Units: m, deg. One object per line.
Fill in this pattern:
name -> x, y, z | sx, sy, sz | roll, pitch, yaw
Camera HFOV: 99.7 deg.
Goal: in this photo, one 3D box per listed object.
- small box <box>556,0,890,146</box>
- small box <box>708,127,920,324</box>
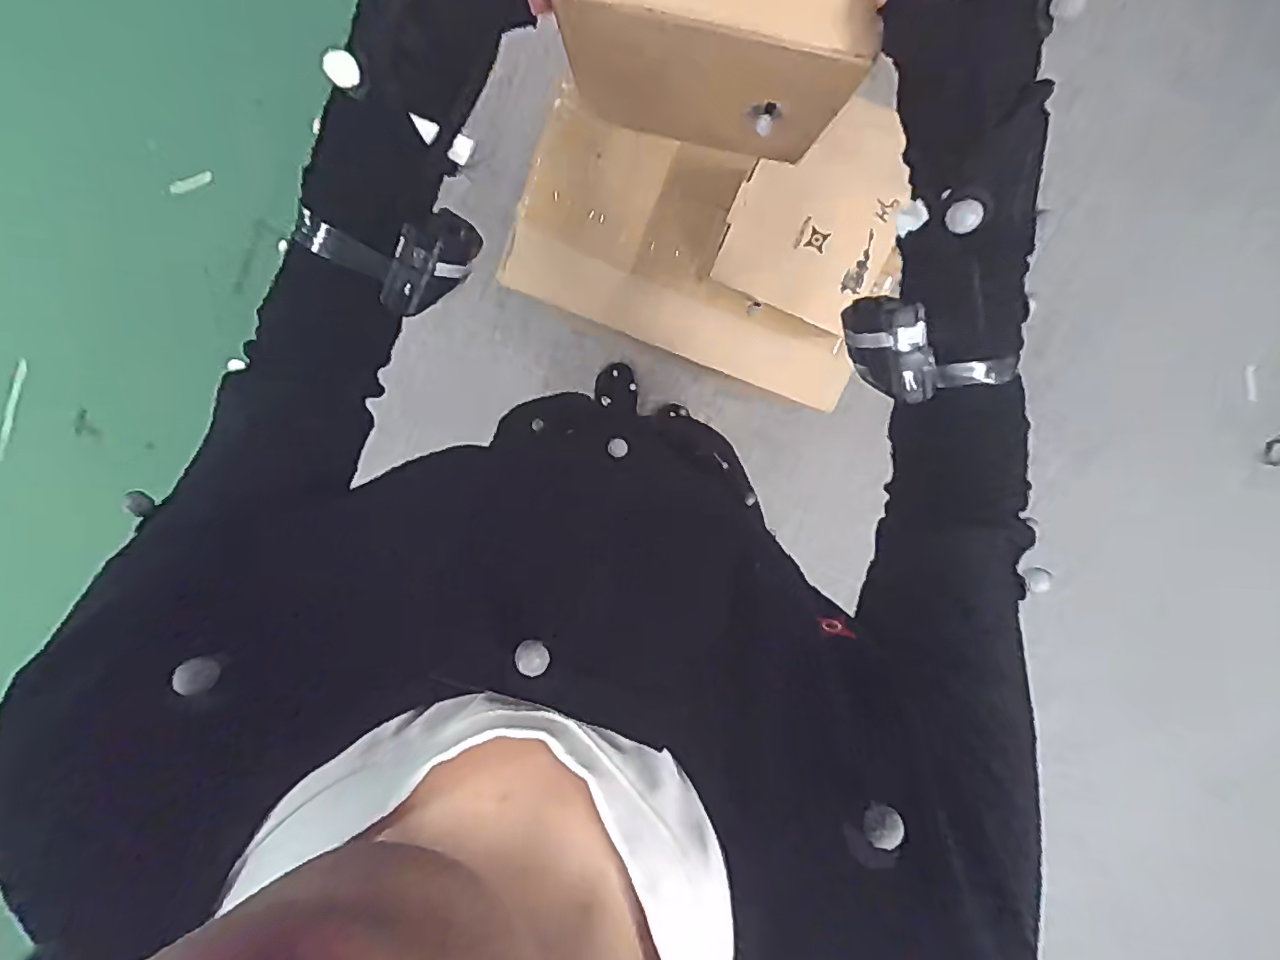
small box -> 0.053, -0.334, 0.337 | 0.179, 0.176, 0.168 | 9, 103, 0
small box -> 0.194, -0.300, 0.669 | 0.179, 0.176, 0.168 | 23, 106, -2
